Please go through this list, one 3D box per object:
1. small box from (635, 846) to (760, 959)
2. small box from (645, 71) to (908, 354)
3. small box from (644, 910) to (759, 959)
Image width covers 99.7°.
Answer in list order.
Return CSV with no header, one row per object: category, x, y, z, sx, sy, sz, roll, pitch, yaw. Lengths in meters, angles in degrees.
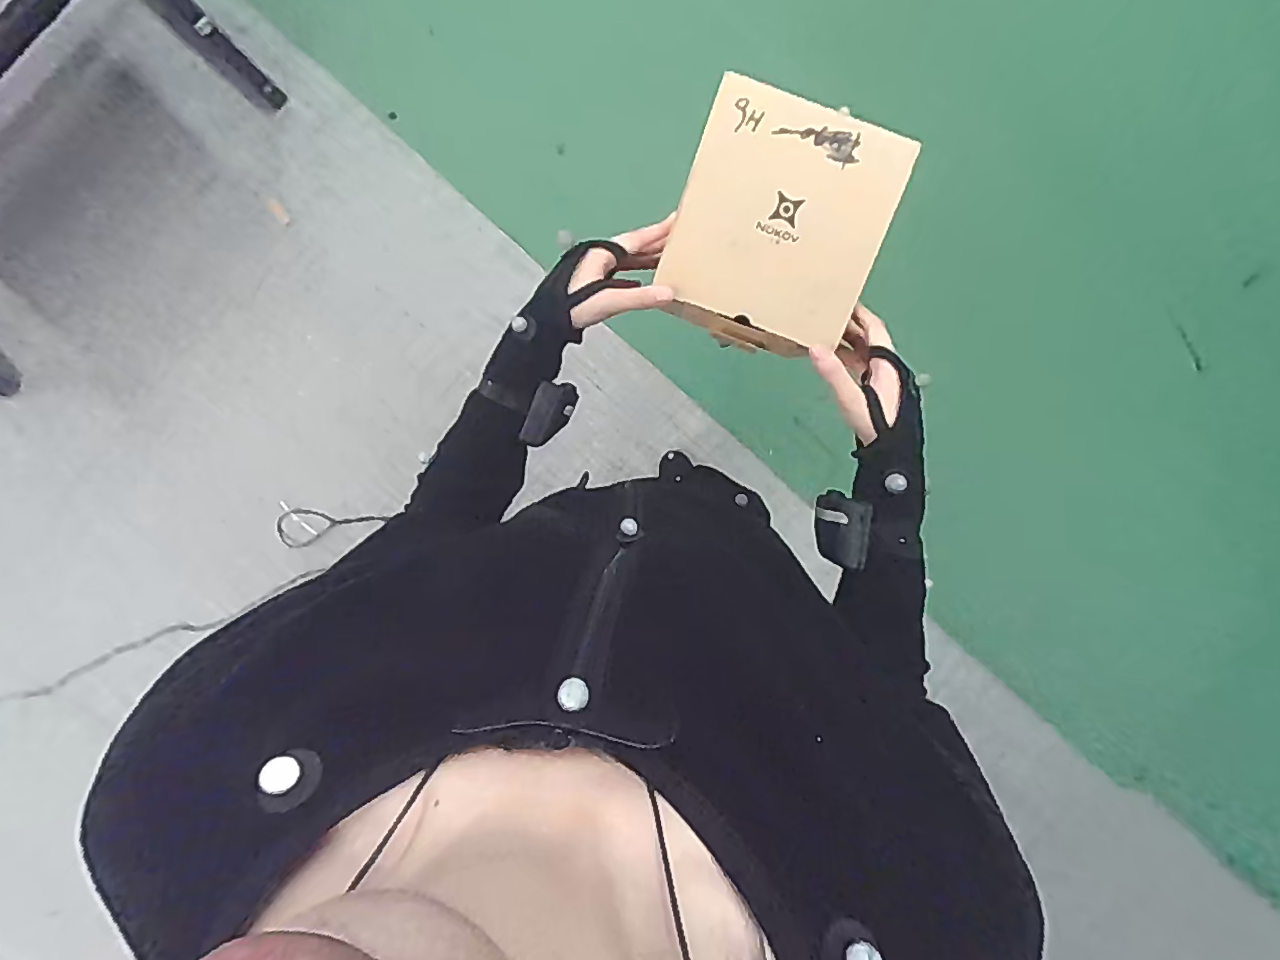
small box,0.099,0.845,1.025,0.179,0.176,0.168,28,91,1
small box,0.114,-0.232,0.520,0.168,0.176,0.179,19,104,-1
small box,0.092,0.845,0.861,0.179,0.176,0.168,28,91,0
